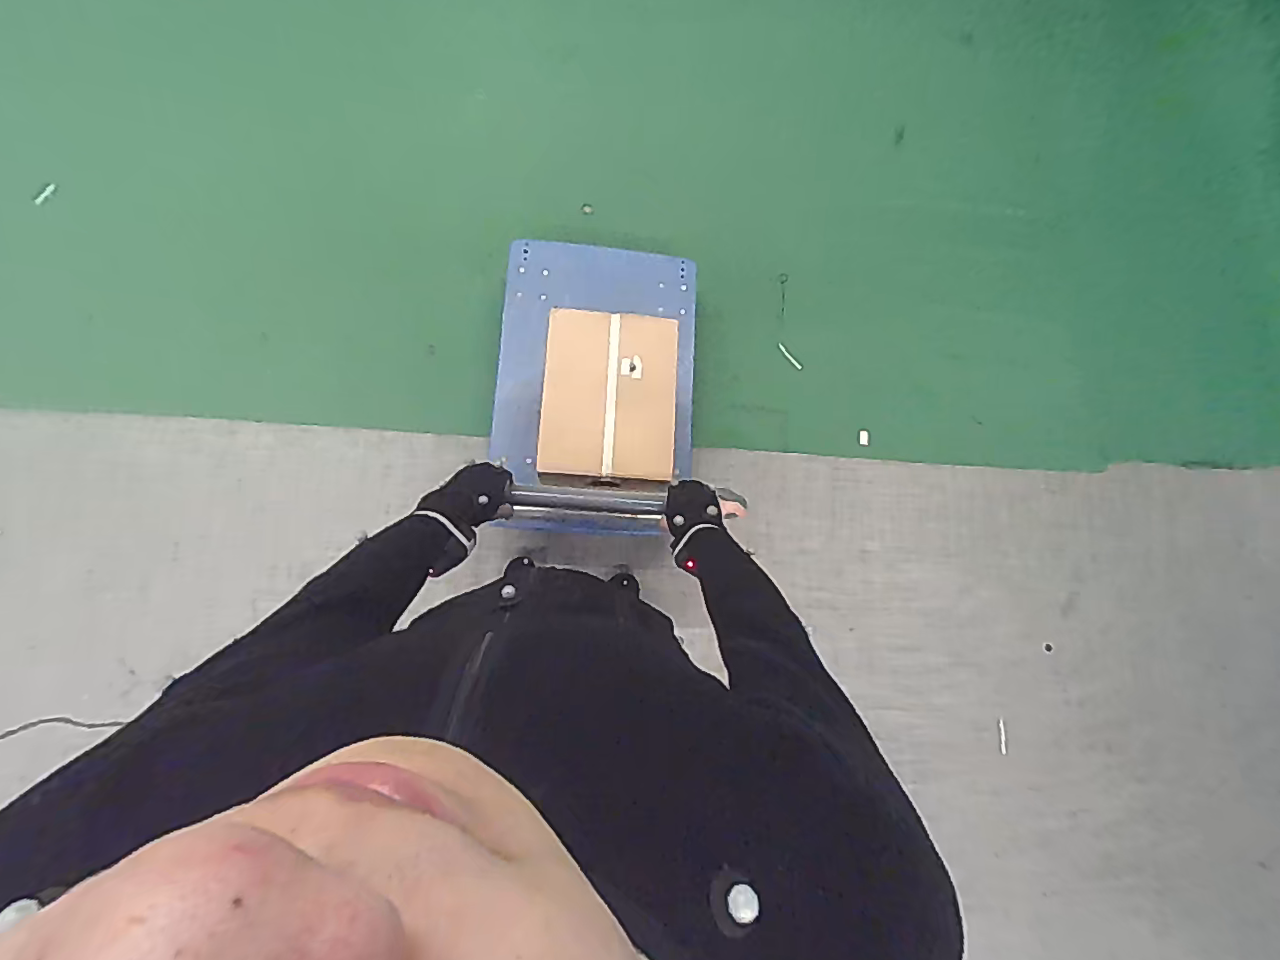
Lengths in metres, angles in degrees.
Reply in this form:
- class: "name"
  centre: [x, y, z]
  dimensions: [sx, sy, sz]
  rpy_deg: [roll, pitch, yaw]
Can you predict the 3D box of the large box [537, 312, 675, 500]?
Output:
- class: "large box"
  centre: [-0.089, -0.170, 1.408]
  dimensions: [0.320, 0.320, 0.408]
  rpy_deg: [4, 78, -7]
